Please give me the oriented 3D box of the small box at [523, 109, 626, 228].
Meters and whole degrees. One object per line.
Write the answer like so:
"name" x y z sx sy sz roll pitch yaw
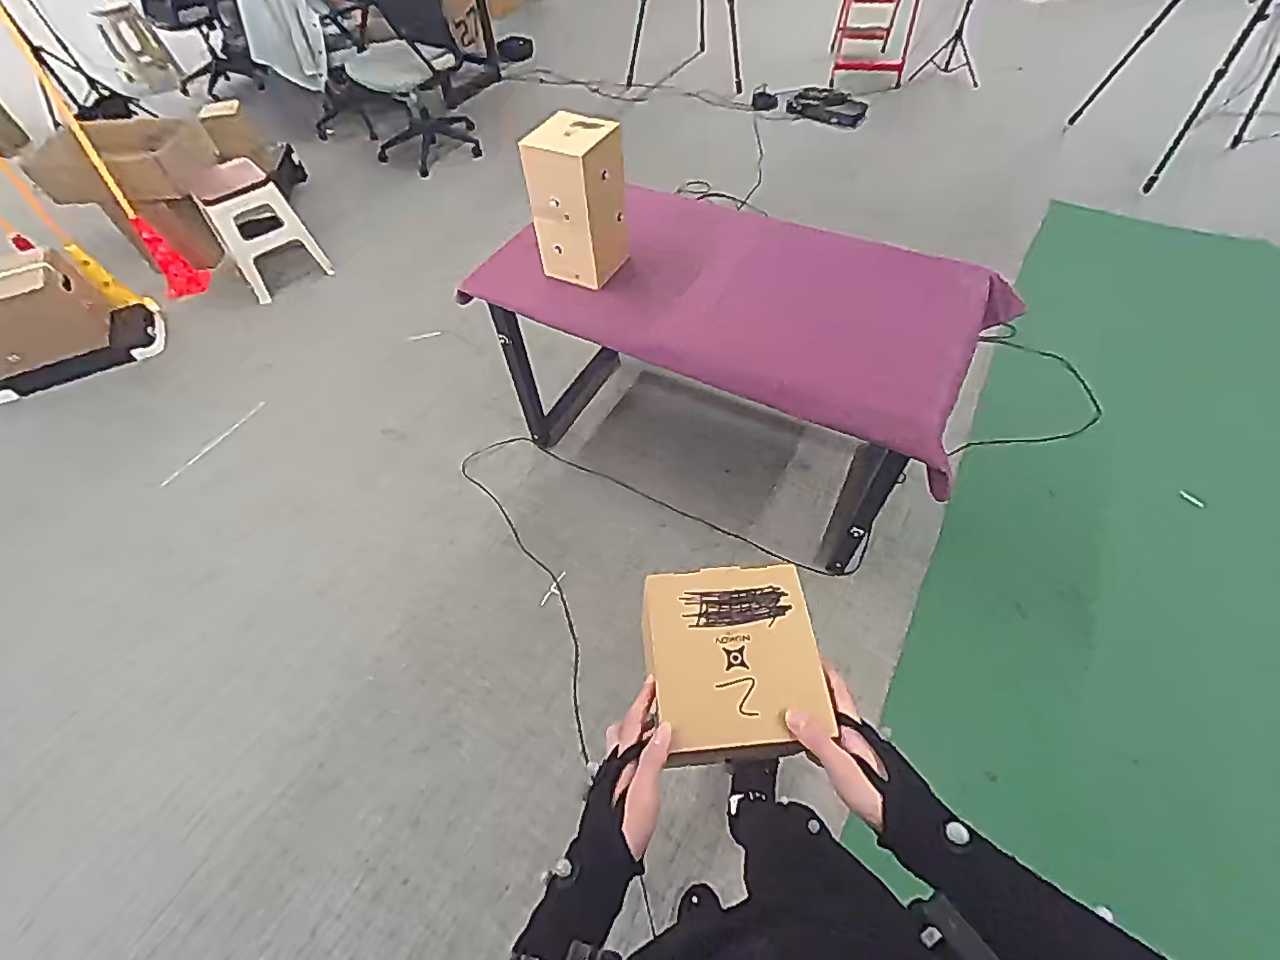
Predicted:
"small box" -0.142 -0.723 1.257 0.168 0.176 0.179 22 60 18

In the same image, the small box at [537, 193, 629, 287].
"small box" -0.137 -0.628 1.391 0.168 0.176 0.179 22 59 17
